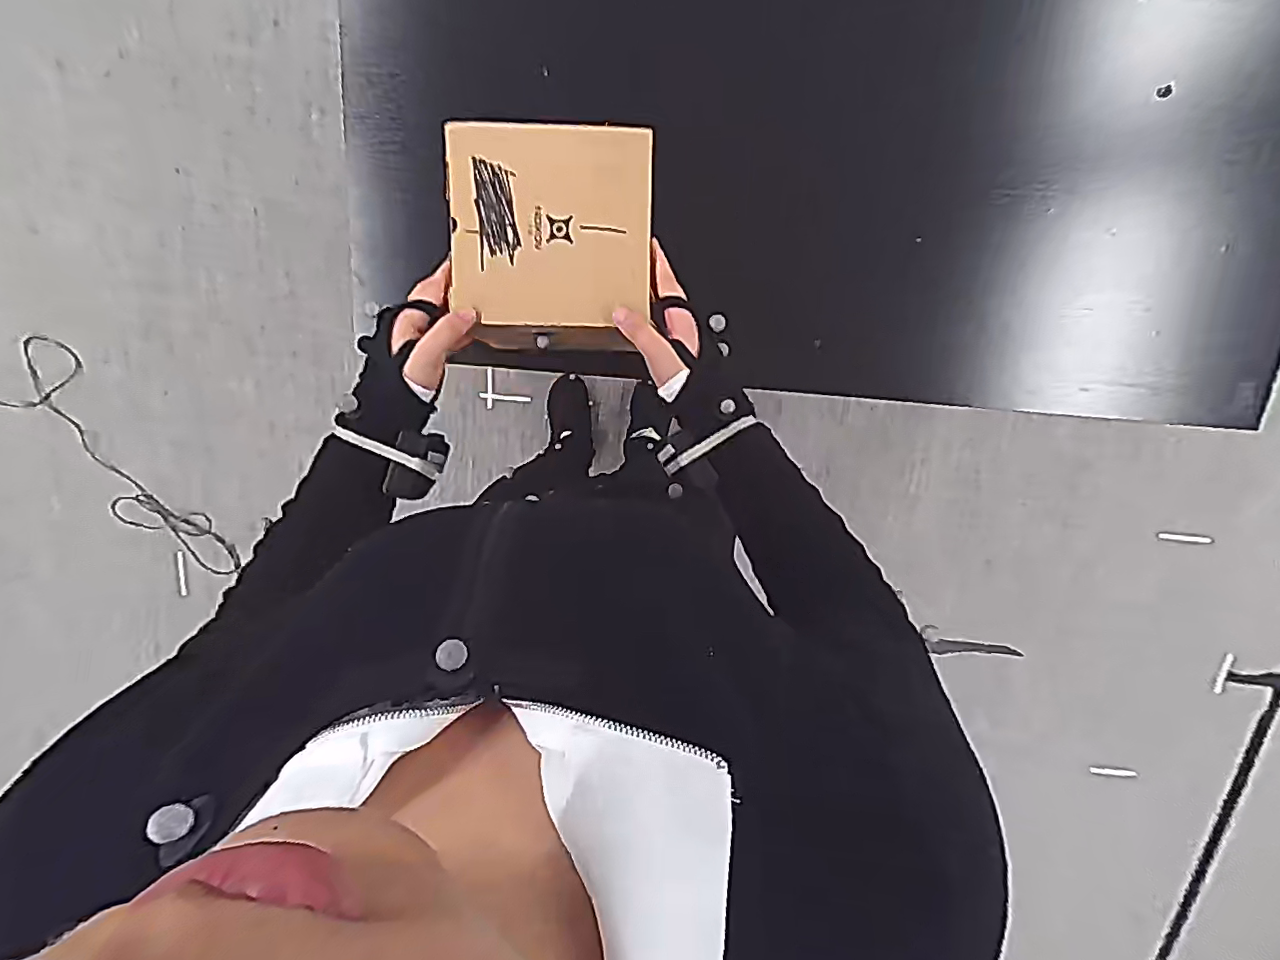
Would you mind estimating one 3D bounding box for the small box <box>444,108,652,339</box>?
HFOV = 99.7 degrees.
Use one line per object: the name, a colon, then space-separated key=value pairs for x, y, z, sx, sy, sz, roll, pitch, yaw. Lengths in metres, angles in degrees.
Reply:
small box: x=-0.081 y=-0.236 z=0.541 sx=0.179 sy=0.176 sz=0.168 roll=1 pitch=98 yaw=-3
